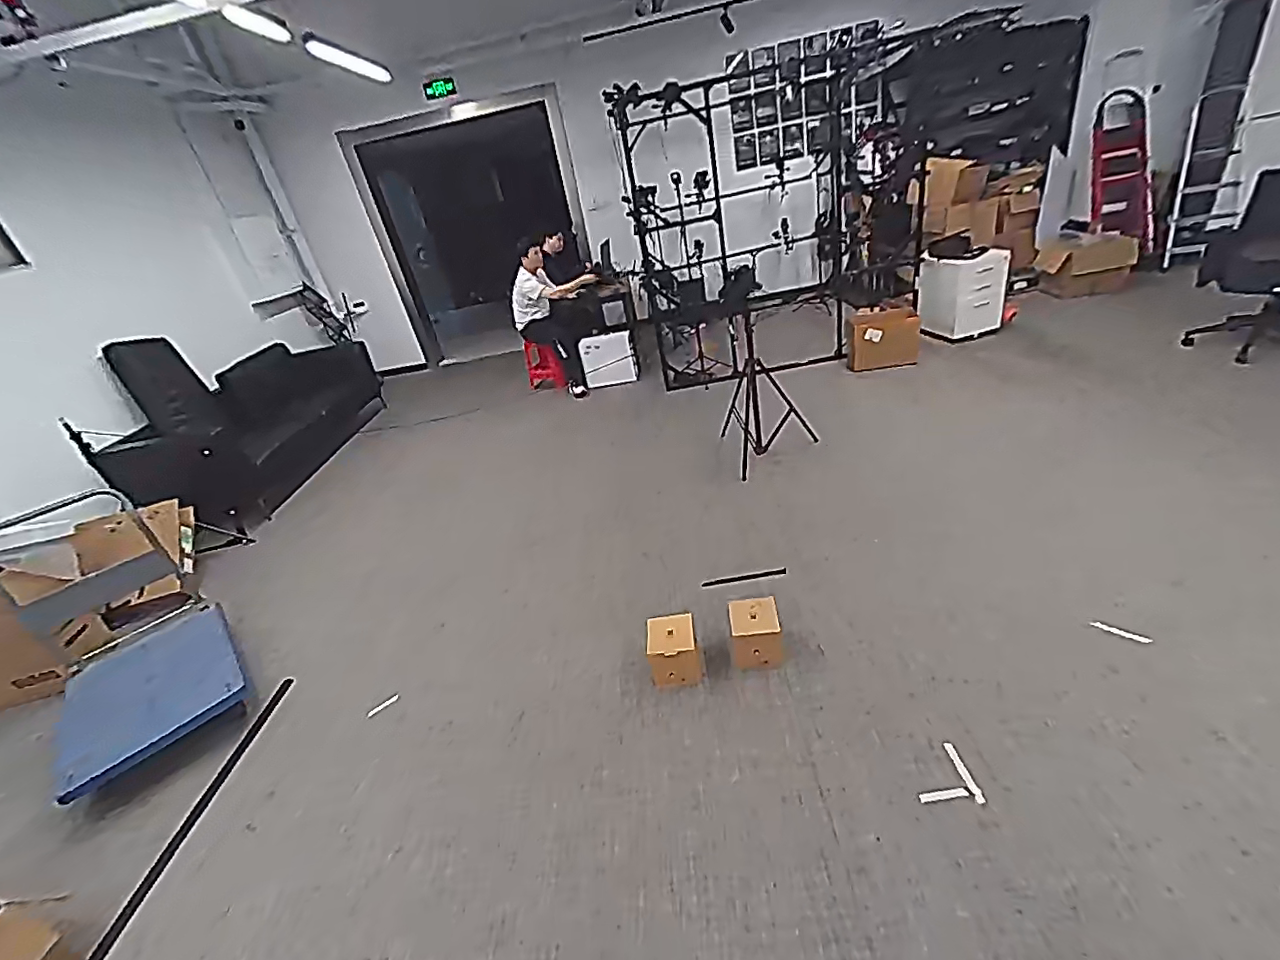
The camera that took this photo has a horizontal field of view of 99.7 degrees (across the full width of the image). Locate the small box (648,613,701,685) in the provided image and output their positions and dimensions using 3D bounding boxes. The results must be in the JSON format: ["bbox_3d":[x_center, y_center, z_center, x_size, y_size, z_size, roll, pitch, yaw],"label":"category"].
[{"bbox_3d":[0.124,0.611,1.952,0.168,0.176,0.179,-10,29,6],"label":"small box"}]

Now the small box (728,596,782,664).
[{"bbox_3d":[0.415,0.546,1.946,0.168,0.176,0.179,-7,29,8],"label":"small box"}]
